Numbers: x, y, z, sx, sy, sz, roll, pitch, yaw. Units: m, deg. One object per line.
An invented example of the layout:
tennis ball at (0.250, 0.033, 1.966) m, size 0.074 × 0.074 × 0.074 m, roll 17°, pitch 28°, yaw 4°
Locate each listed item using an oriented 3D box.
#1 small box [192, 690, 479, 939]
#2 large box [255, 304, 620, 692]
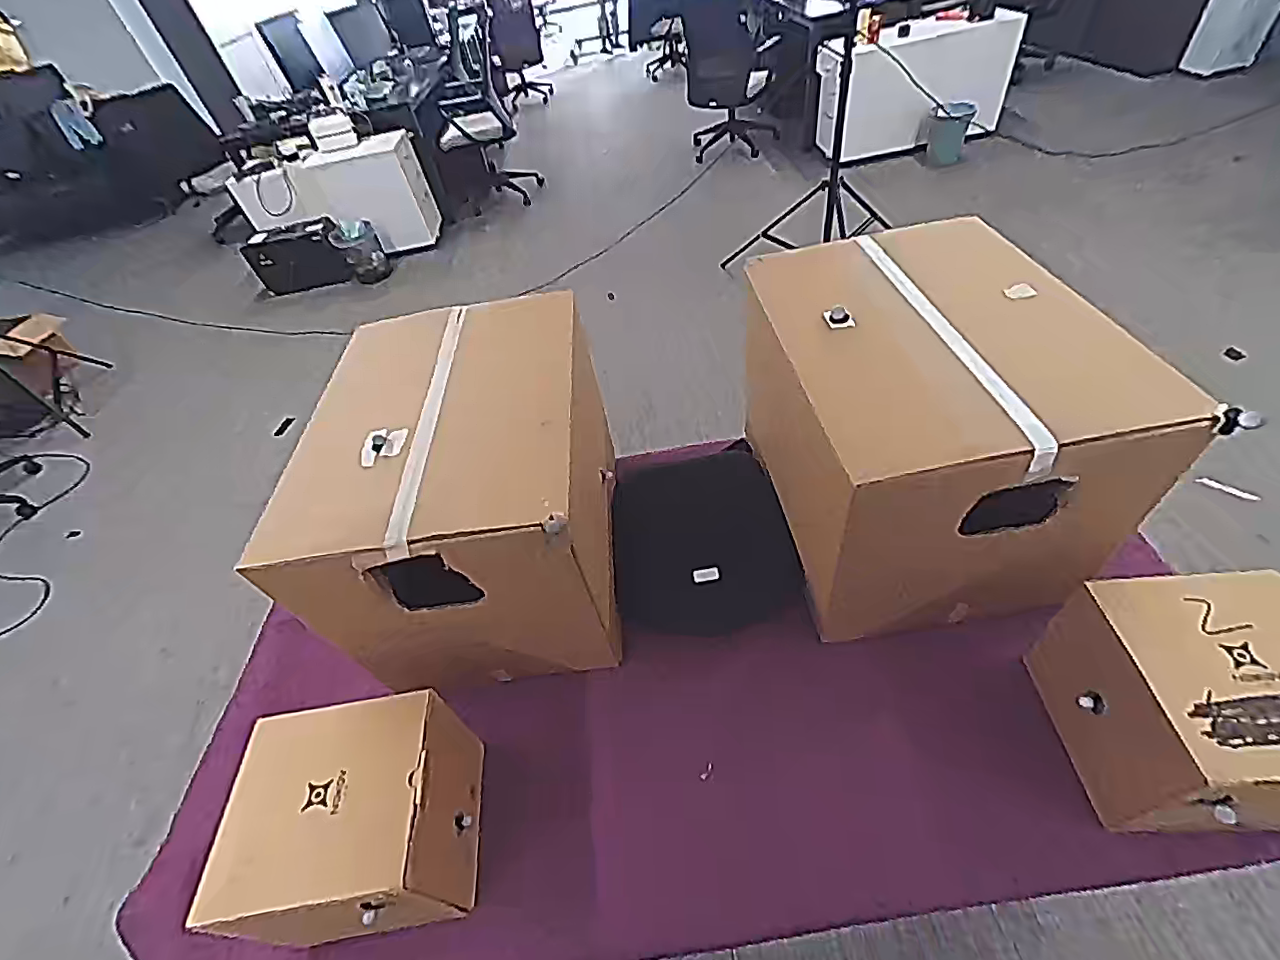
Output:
small box at (-0.280, 0.340, 0.548) m, size 0.179 × 0.176 × 0.168 m, roll -10°, pitch 46°, yaw -2°
large box at (-0.210, 0.022, 0.737) m, size 0.320 × 0.320 × 0.408 m, roll -9°, pitch 49°, yaw 4°
